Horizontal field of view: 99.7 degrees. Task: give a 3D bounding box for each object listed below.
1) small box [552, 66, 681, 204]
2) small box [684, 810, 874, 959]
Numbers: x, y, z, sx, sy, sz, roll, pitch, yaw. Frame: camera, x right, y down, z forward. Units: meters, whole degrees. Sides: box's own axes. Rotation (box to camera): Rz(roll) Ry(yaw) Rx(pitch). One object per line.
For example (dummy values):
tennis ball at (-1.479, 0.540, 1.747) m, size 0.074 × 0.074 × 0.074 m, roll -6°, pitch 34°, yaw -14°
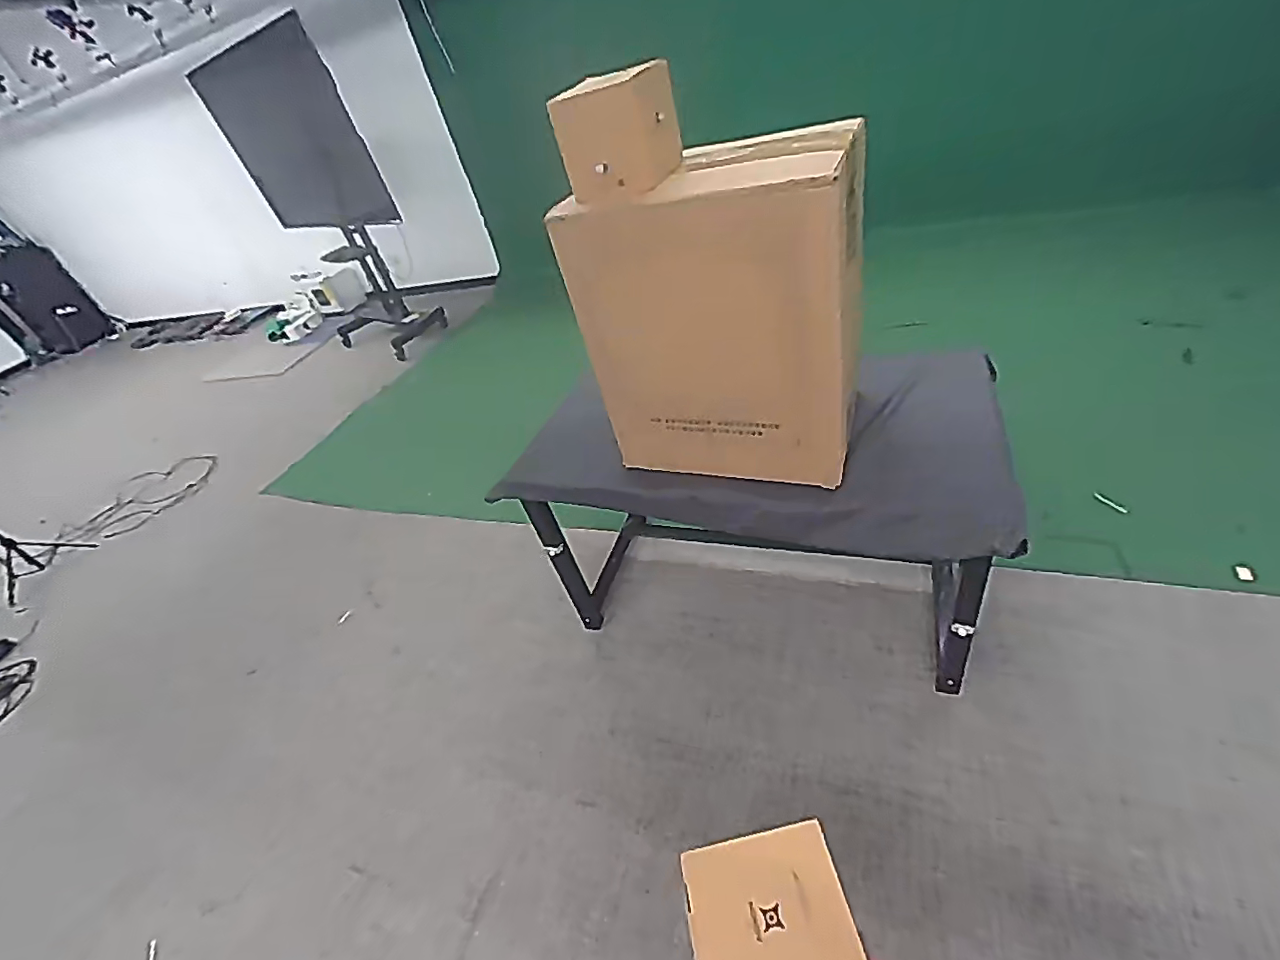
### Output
small box at (-0.033, -0.640, 1.013) m, size 0.168 × 0.176 × 0.179 m, roll 5°, pitch 46°, yaw 27°
small box at (0.167, 0.533, 0.645) m, size 0.179 × 0.176 × 0.168 m, roll -17°, pitch 37°, yaw 3°
